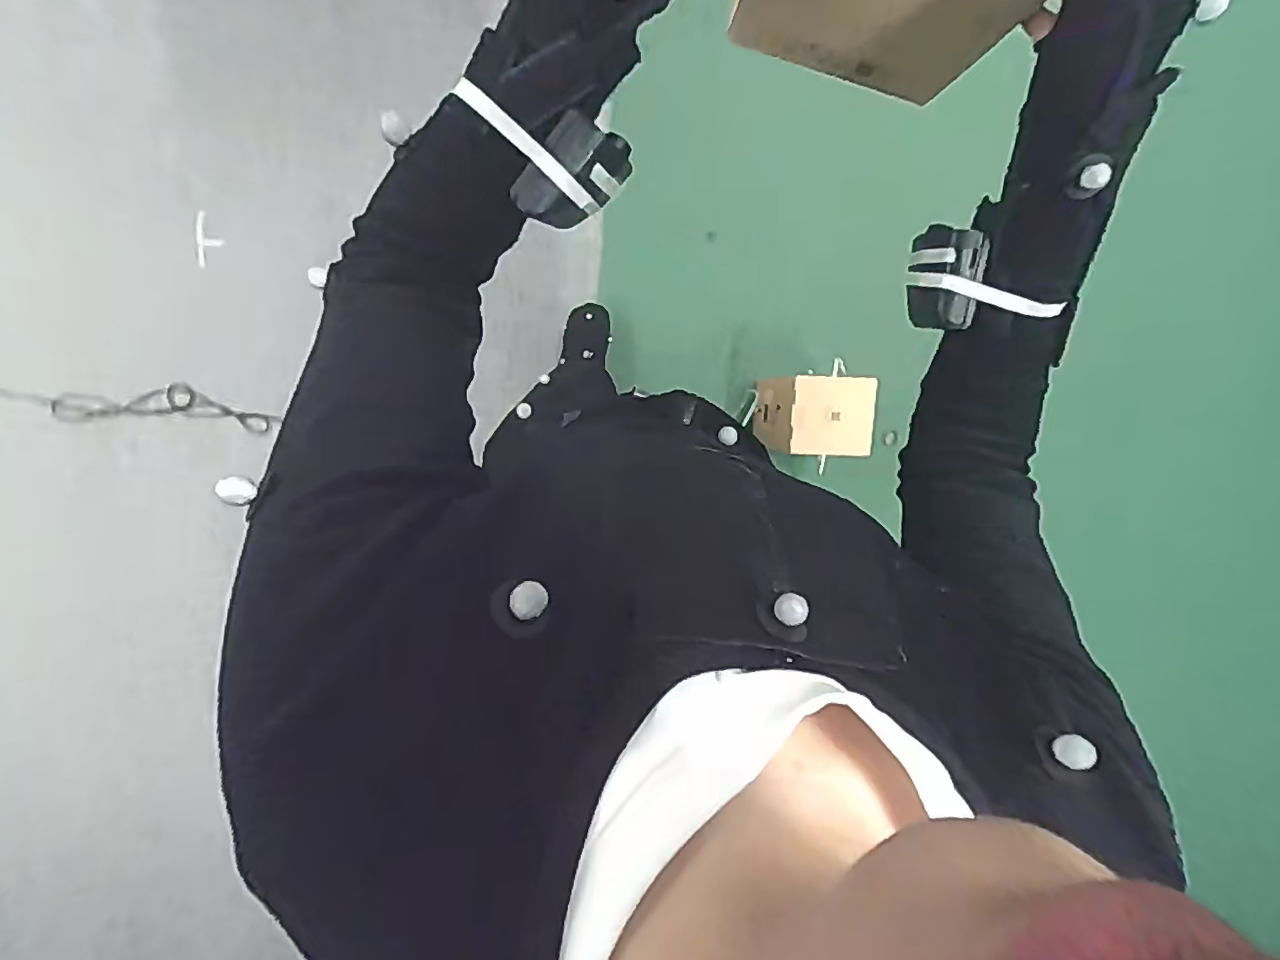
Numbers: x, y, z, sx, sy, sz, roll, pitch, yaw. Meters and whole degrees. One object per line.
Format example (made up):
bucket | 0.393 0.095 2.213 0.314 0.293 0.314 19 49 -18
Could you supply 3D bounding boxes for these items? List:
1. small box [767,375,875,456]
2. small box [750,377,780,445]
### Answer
small box | 0.401 -0.150 1.221 0.179 0.176 0.168 2 99 -1
small box | 0.394 -0.173 1.382 0.179 0.176 0.168 4 98 -3
